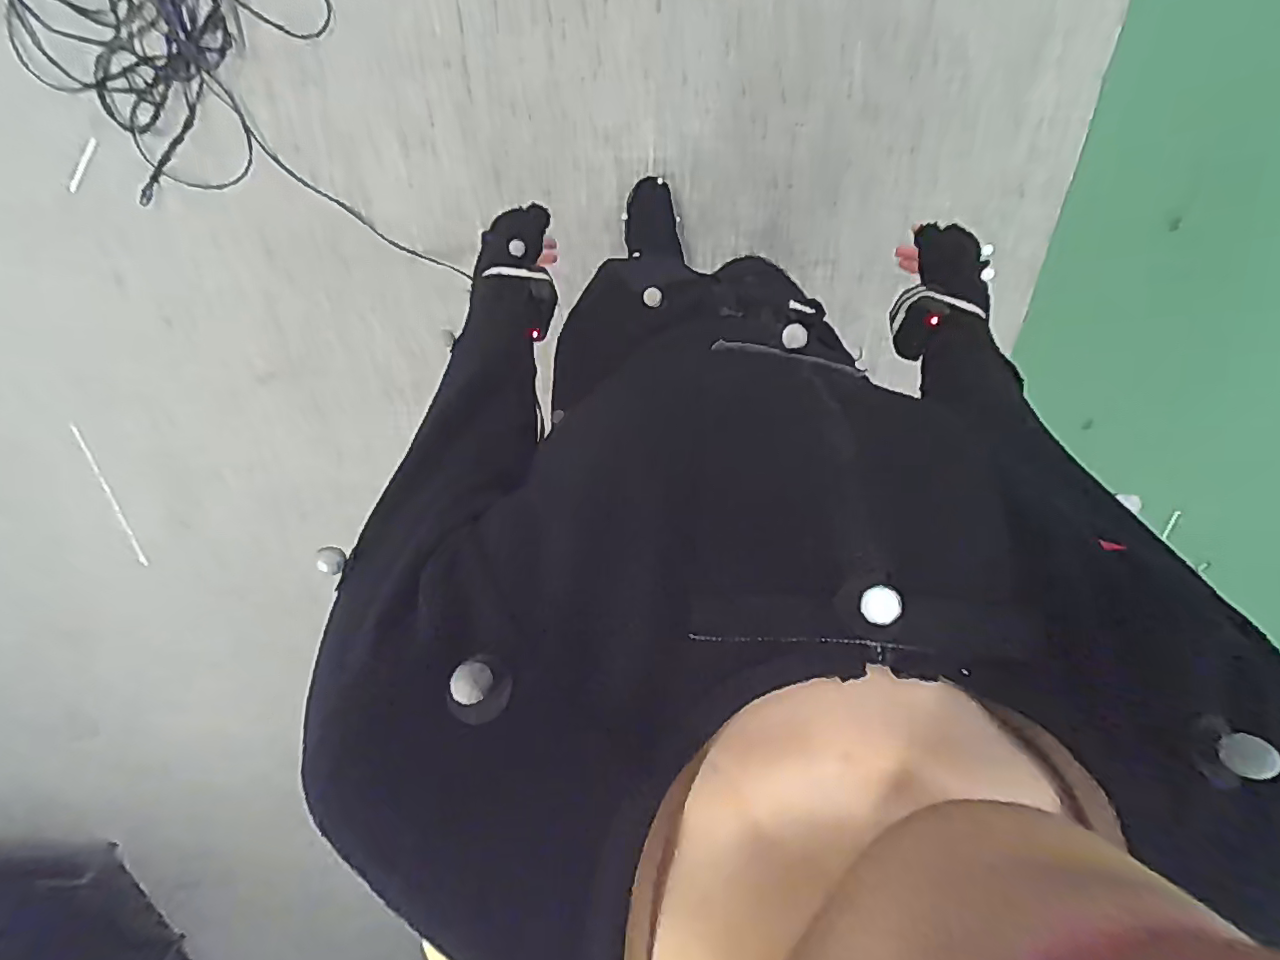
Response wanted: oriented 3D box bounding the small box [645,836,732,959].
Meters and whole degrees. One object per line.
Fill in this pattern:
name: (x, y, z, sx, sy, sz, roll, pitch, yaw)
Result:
small box: (0.096, 0.873, 1.127, 0.168, 0.176, 0.179, -2, 119, 2)
